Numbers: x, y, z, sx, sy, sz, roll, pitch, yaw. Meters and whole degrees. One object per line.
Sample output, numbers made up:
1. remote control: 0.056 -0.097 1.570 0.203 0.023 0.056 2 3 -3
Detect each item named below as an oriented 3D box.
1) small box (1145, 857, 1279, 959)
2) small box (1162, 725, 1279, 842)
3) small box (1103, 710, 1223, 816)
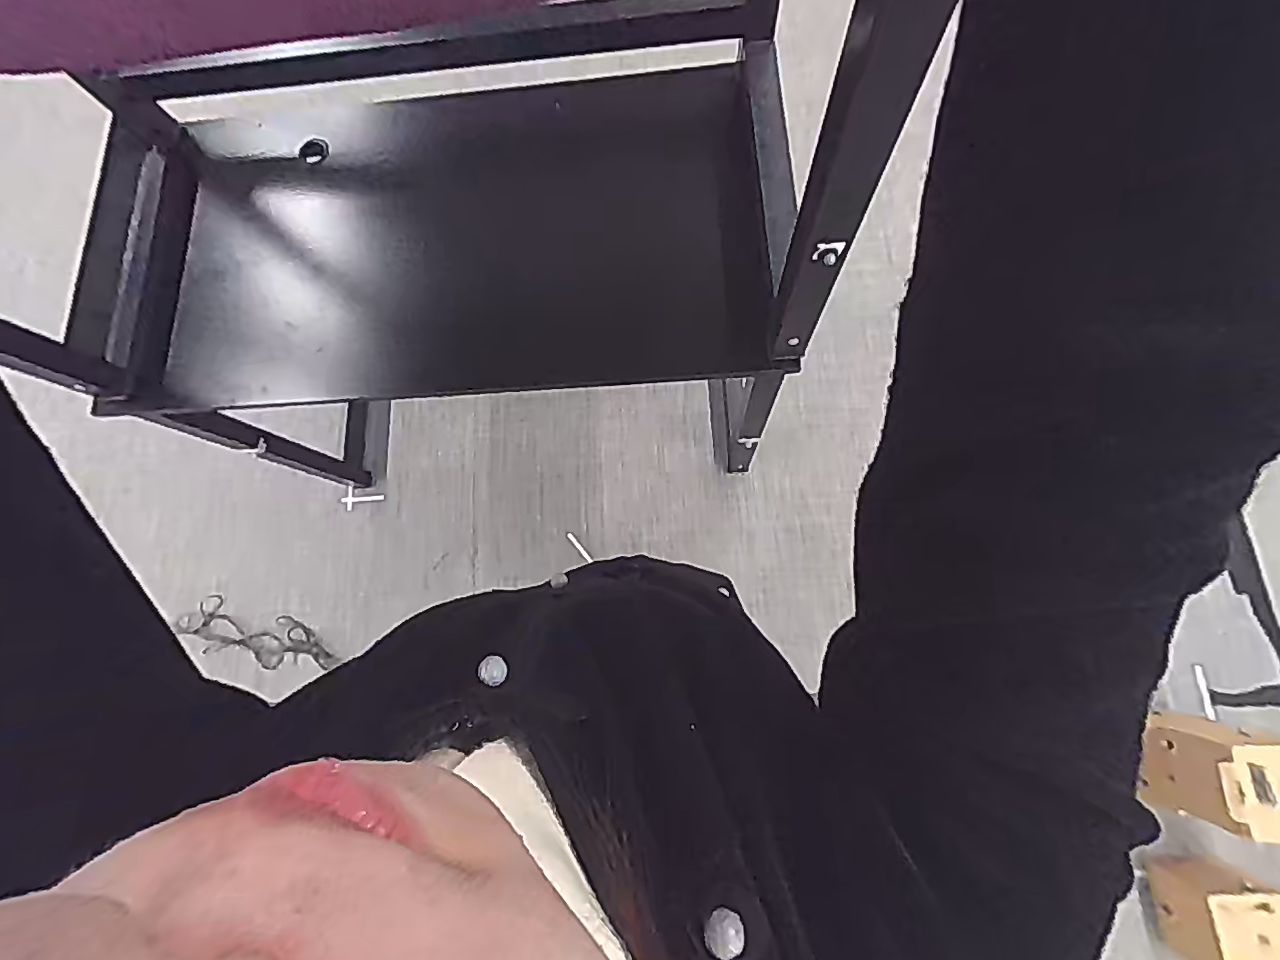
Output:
1. small box: 1.250 0.946 1.159 0.168 0.176 0.179 -4 78 4
2. small box: 1.196 0.593 1.072 0.179 0.176 0.168 -2 78 3
3. small box: 1.214 0.636 1.229 0.168 0.176 0.179 -5 78 4
